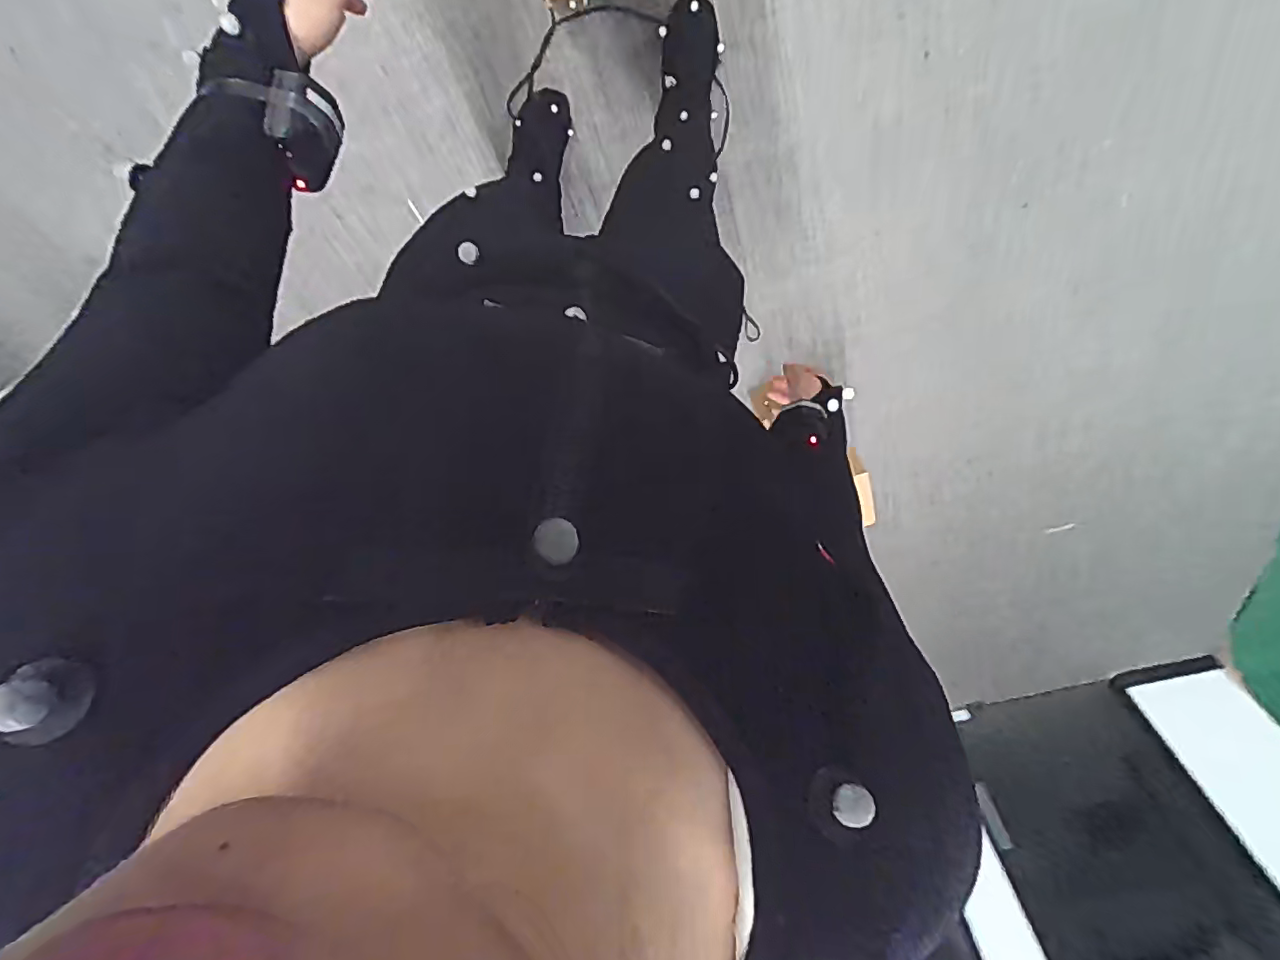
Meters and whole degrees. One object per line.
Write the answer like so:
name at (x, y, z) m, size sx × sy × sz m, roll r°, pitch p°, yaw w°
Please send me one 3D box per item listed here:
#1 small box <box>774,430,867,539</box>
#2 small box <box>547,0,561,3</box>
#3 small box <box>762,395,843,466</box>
small box at (0.438, 0.010, 1.319) m, size 0.168 × 0.176 × 0.179 m, roll -18°, pitch 131°, yaw 11°
small box at (-0.103, -0.923, 0.886) m, size 0.168 × 0.176 × 0.179 m, roll -15°, pitch 130°, yaw 9°
small box at (0.438, -0.096, 1.444) m, size 0.168 × 0.176 × 0.179 m, roll -18°, pitch 129°, yaw 11°
